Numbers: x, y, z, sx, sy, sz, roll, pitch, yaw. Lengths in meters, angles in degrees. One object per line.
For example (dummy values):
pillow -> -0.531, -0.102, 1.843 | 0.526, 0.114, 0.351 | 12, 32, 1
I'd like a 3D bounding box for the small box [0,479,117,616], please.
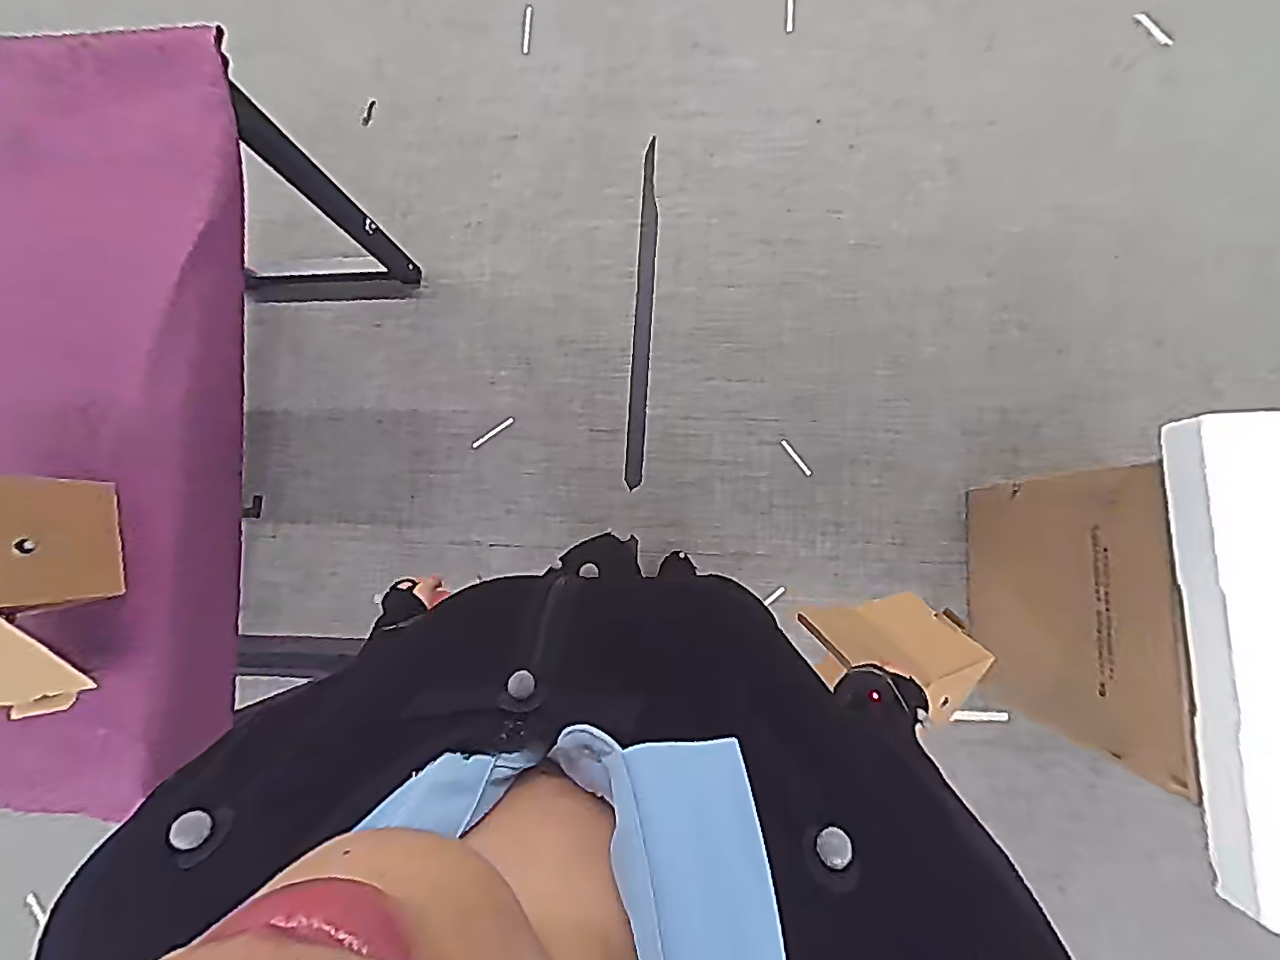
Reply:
small box -> -0.883, 0.098, 0.749 | 0.168, 0.176, 0.179 | -12, 83, 4
